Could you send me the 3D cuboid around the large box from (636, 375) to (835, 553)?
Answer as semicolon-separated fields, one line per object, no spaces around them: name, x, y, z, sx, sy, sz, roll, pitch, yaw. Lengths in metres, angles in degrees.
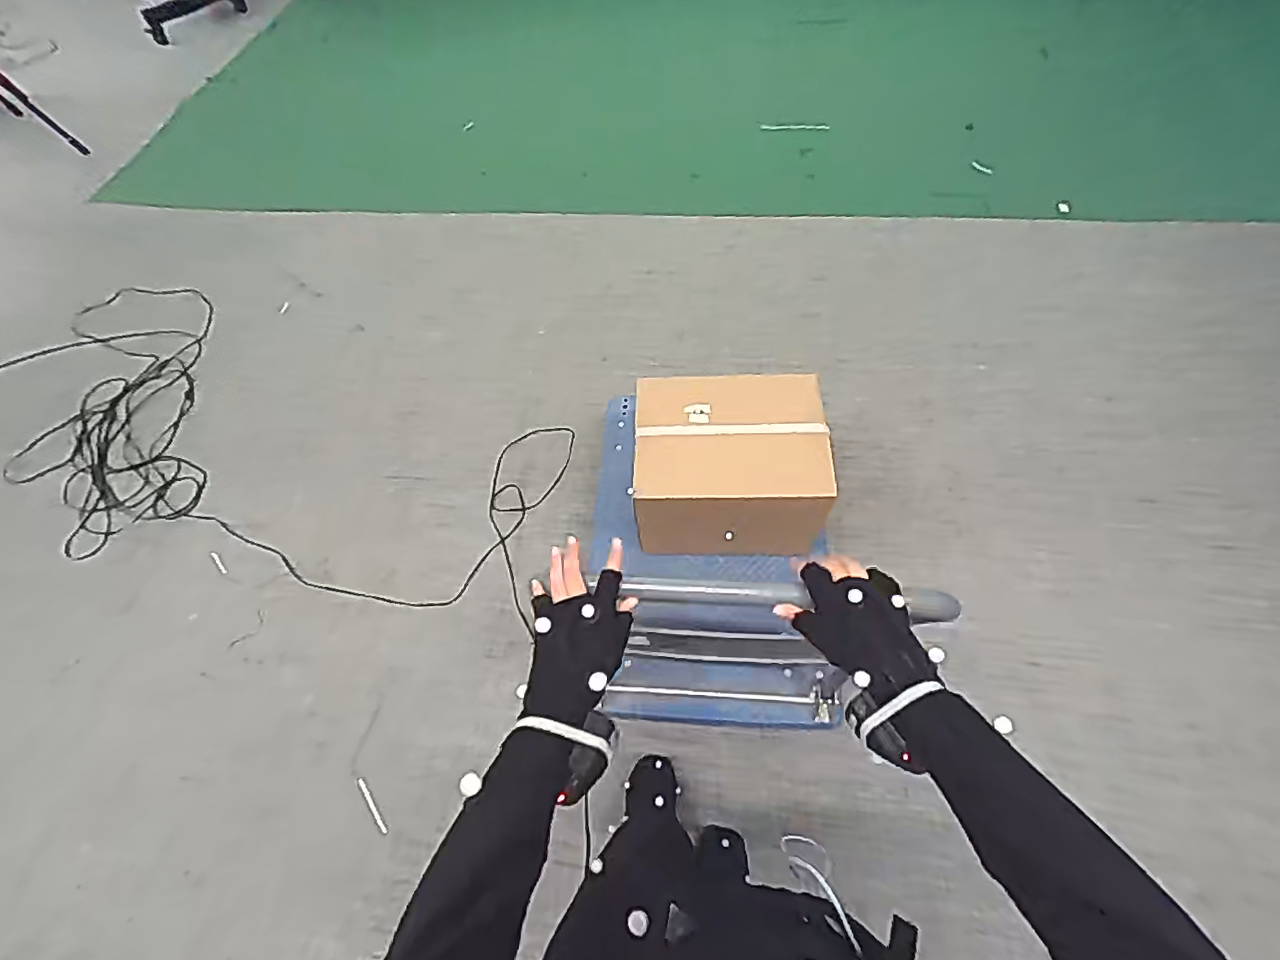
large box;0.206;-0.025;1.287;0.408;0.320;0.320;-1;60;4
